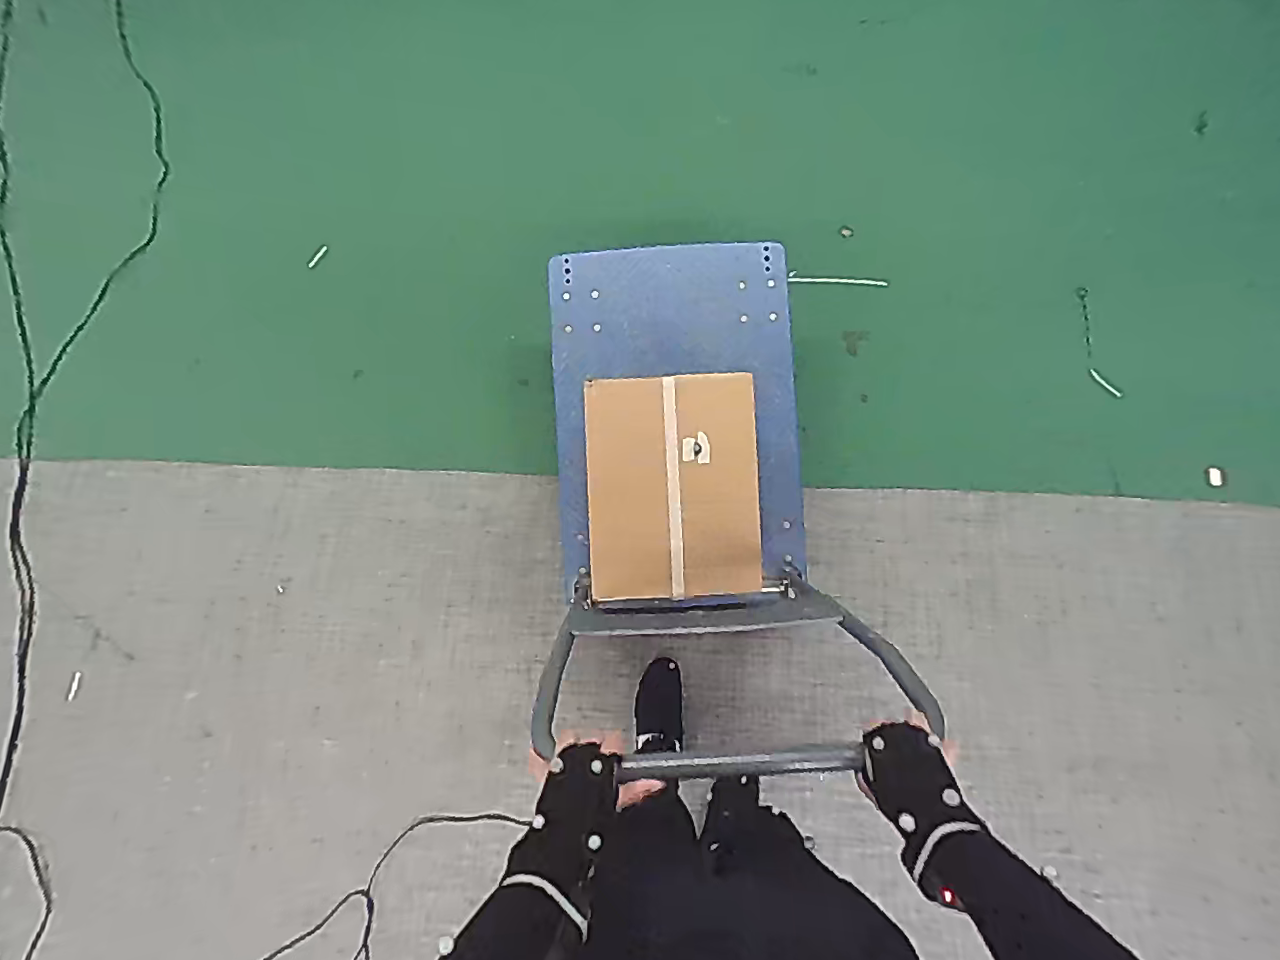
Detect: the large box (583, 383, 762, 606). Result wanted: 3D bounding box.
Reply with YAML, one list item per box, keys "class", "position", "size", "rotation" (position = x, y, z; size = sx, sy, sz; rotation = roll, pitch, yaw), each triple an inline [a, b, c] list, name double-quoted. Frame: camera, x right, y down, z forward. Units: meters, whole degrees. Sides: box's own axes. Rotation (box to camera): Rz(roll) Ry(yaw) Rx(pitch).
- class: "large box"
  position: [0.062, 0.032, 1.145]
  size: [0.320, 0.320, 0.408]
  rotation: [-3, 88, 0]
